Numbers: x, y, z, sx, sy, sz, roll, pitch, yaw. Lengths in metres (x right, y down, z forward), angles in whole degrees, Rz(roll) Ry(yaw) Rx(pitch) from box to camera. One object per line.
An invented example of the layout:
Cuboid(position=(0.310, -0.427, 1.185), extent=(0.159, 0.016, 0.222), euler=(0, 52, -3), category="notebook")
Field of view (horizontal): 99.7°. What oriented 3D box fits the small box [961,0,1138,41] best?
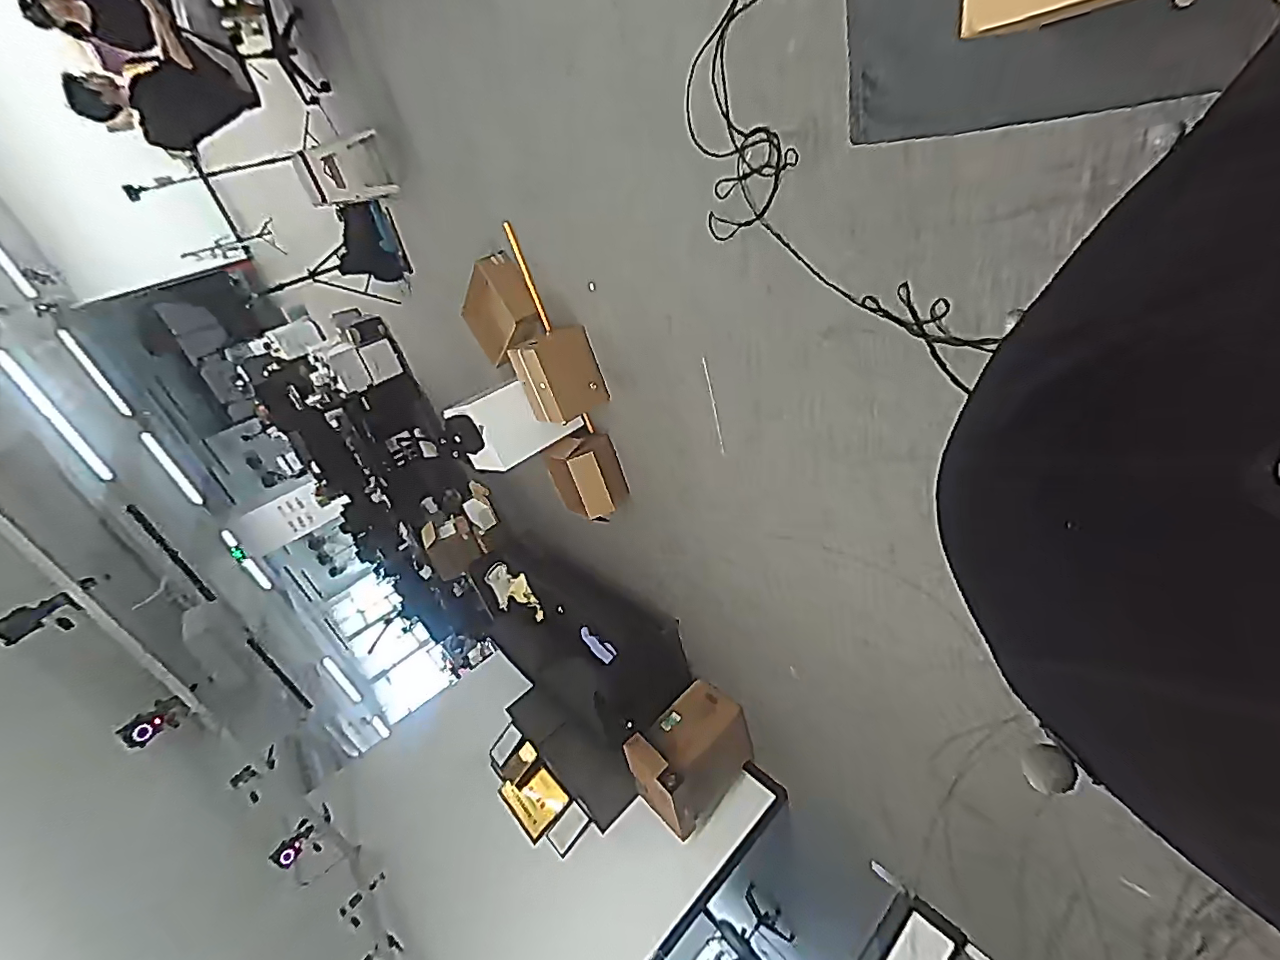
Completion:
Cuboid(position=(0.353, -0.434, 0.369), extent=(0.179, 0.176, 0.168), euler=(22, 135, 46), category="small box")
